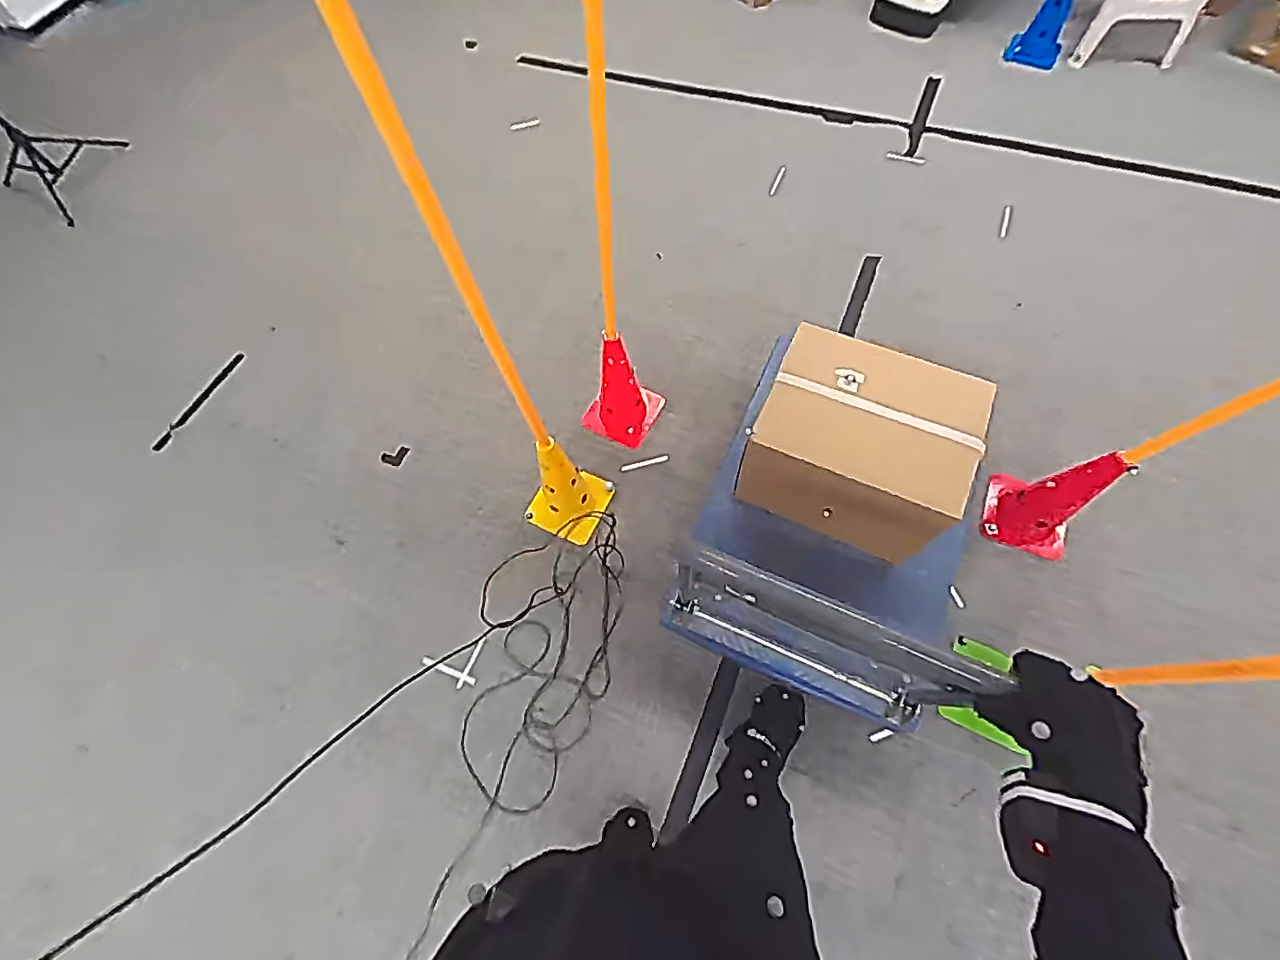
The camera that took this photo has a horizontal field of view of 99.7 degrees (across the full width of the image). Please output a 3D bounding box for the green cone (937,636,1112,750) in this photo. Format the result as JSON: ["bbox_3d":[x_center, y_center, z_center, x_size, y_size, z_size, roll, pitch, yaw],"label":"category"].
[{"bbox_3d":[0.809,0.425,1.111,0.202,0.368,0.200,24,69,12],"label":"green cone"}]

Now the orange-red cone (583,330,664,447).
[{"bbox_3d":[-0.055,-0.281,1.490,0.198,0.360,0.199,27,68,14],"label":"orange-red cone"}]

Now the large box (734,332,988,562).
[{"bbox_3d":[0.460,-0.061,1.199,0.408,0.320,0.320,23,69,14],"label":"large box"}]

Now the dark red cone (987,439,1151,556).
[{"bbox_3d":[1.016,0.015,1.267,0.201,0.394,0.202,21,69,10],"label":"dark red cone"}]
